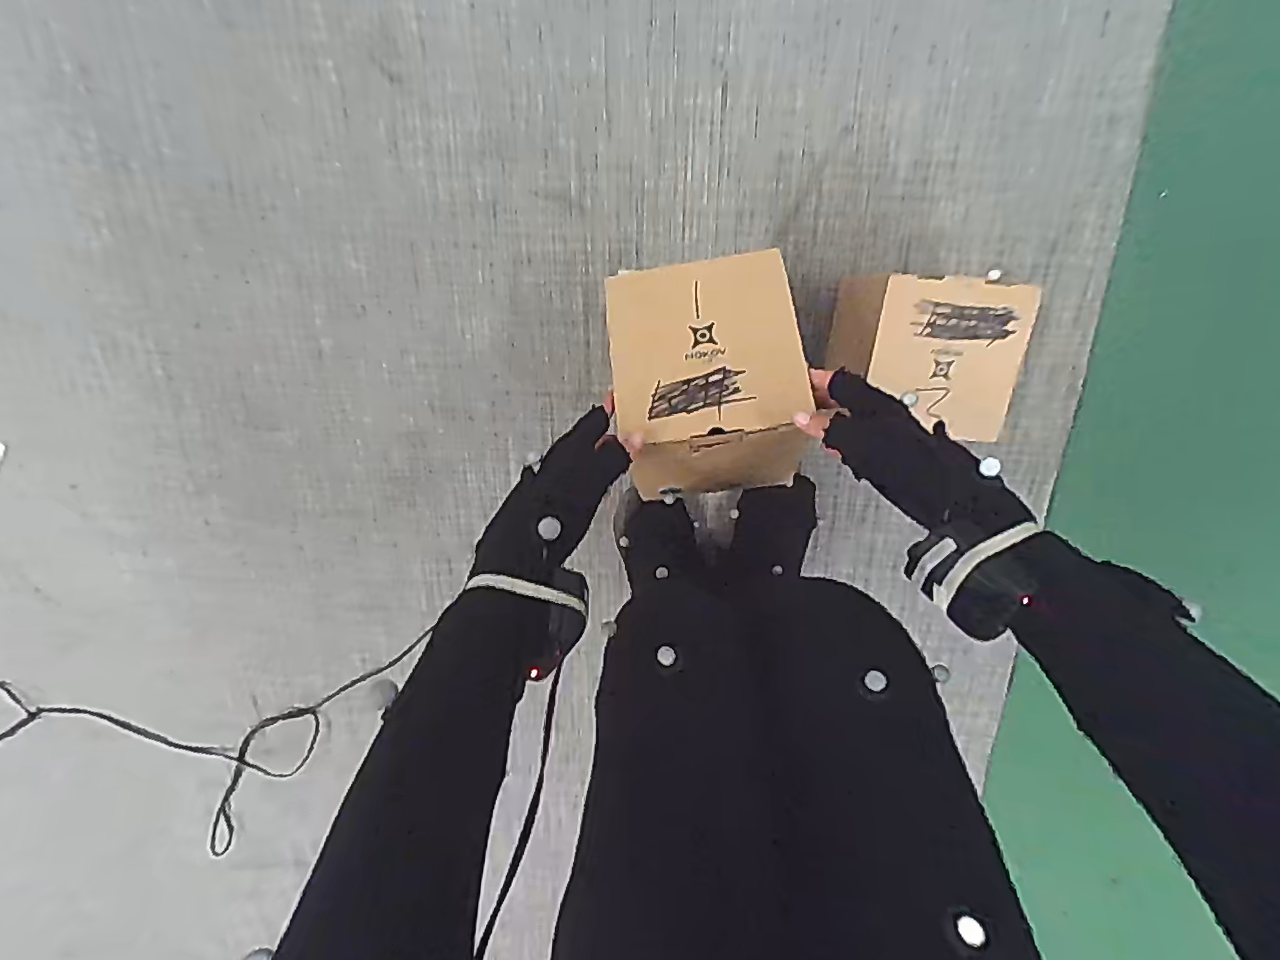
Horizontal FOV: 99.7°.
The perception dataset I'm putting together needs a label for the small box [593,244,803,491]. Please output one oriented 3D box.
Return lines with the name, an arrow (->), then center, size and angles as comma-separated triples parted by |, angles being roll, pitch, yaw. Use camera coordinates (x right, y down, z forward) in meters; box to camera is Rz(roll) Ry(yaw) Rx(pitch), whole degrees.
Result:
small box -> 0.056, -0.094, 0.538 | 0.168, 0.176, 0.179 | -8, 71, 6
